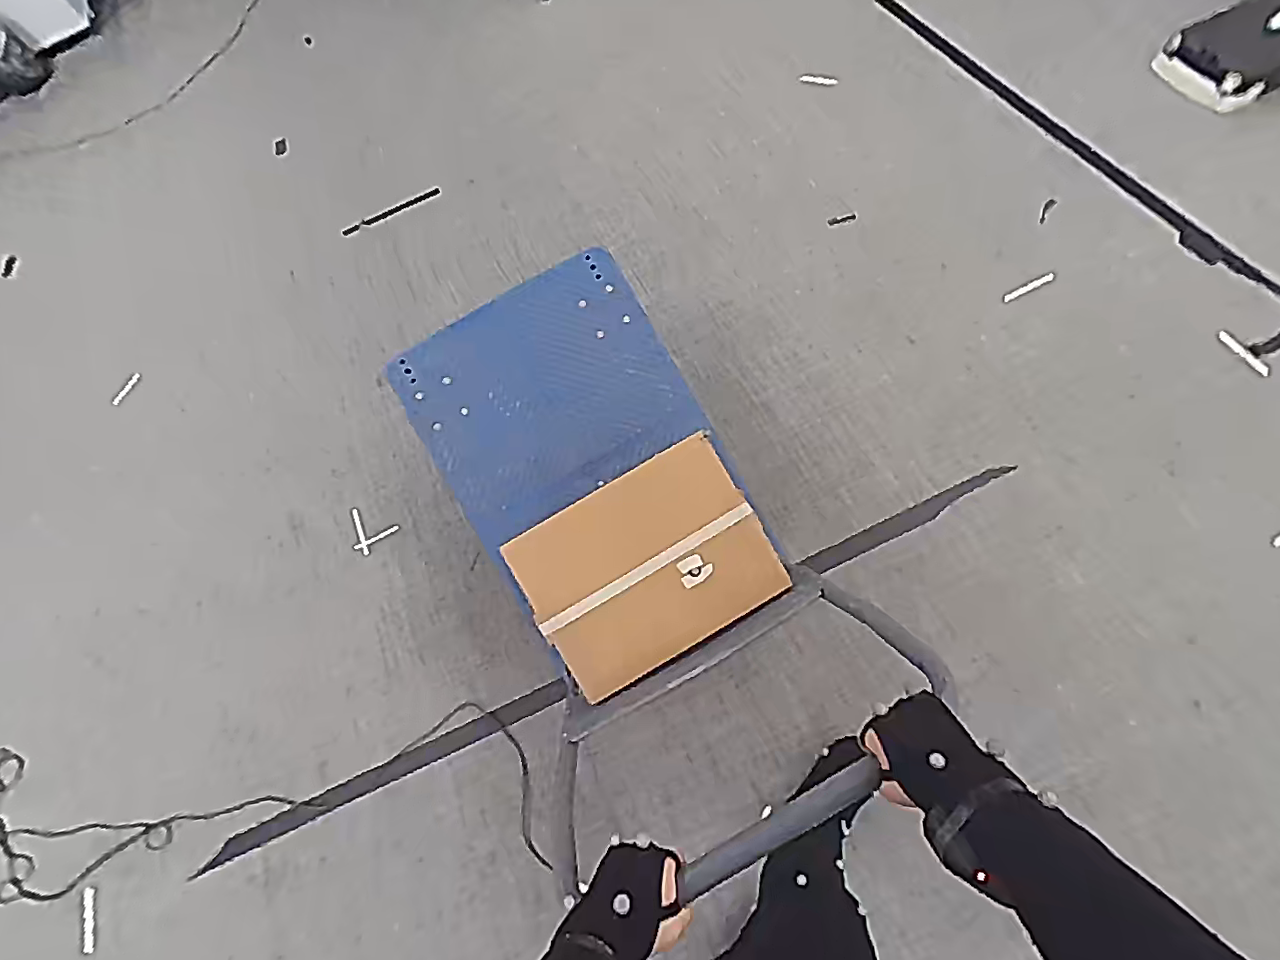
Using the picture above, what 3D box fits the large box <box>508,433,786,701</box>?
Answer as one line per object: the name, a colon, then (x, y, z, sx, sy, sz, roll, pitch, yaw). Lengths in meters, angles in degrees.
large box: (0.007, 0.157, 1.088, 0.408, 0.320, 0.320, -32, 90, -4)
